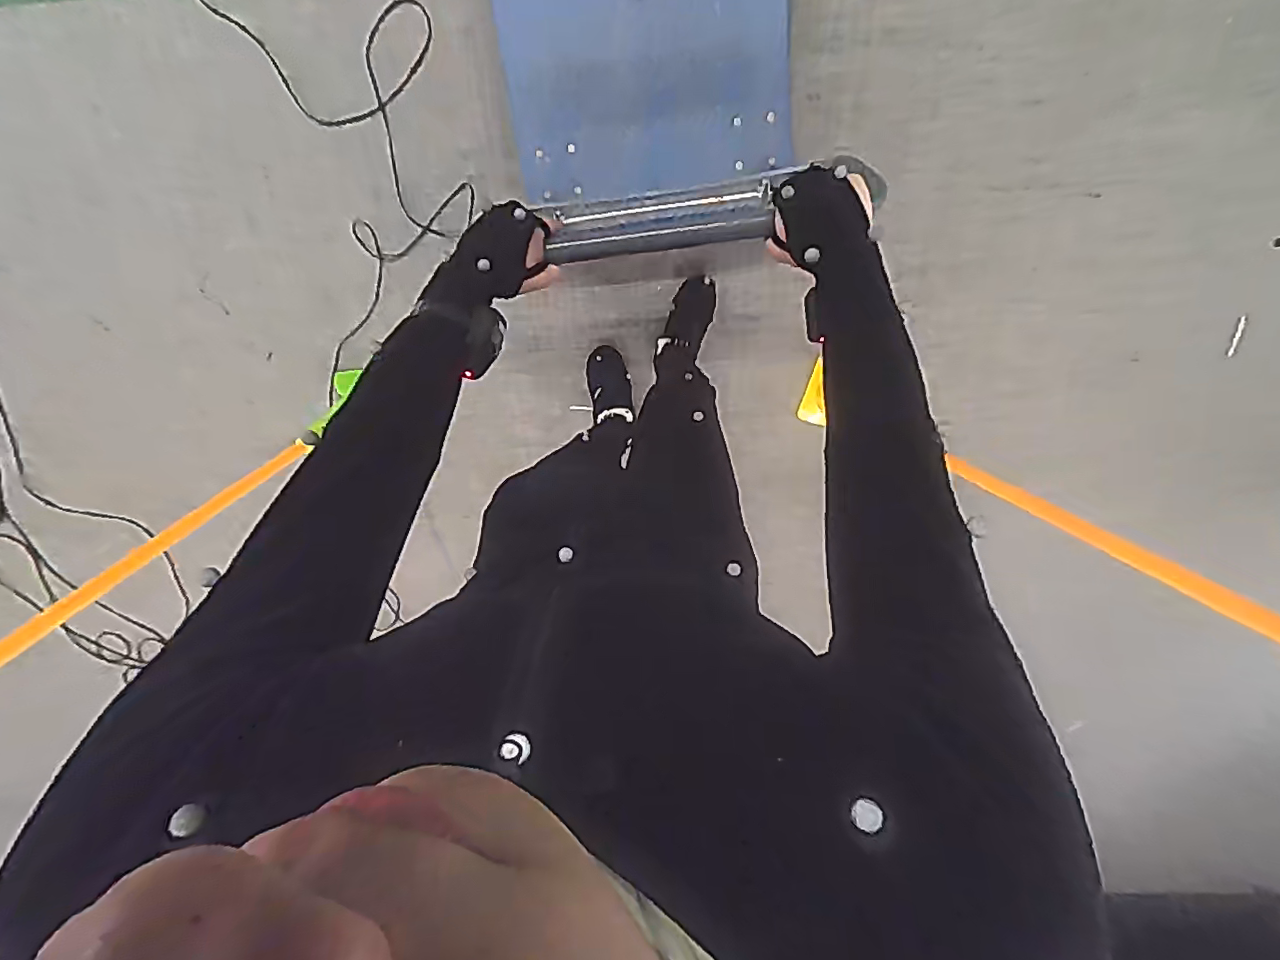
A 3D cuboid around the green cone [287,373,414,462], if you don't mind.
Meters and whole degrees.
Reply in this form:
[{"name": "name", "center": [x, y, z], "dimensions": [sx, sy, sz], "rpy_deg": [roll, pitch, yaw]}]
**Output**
[{"name": "green cone", "center": [-0.773, -0.135, 1.395], "dimensions": [0.202, 0.368, 0.200], "rpy_deg": [-5, 113, 5]}]
